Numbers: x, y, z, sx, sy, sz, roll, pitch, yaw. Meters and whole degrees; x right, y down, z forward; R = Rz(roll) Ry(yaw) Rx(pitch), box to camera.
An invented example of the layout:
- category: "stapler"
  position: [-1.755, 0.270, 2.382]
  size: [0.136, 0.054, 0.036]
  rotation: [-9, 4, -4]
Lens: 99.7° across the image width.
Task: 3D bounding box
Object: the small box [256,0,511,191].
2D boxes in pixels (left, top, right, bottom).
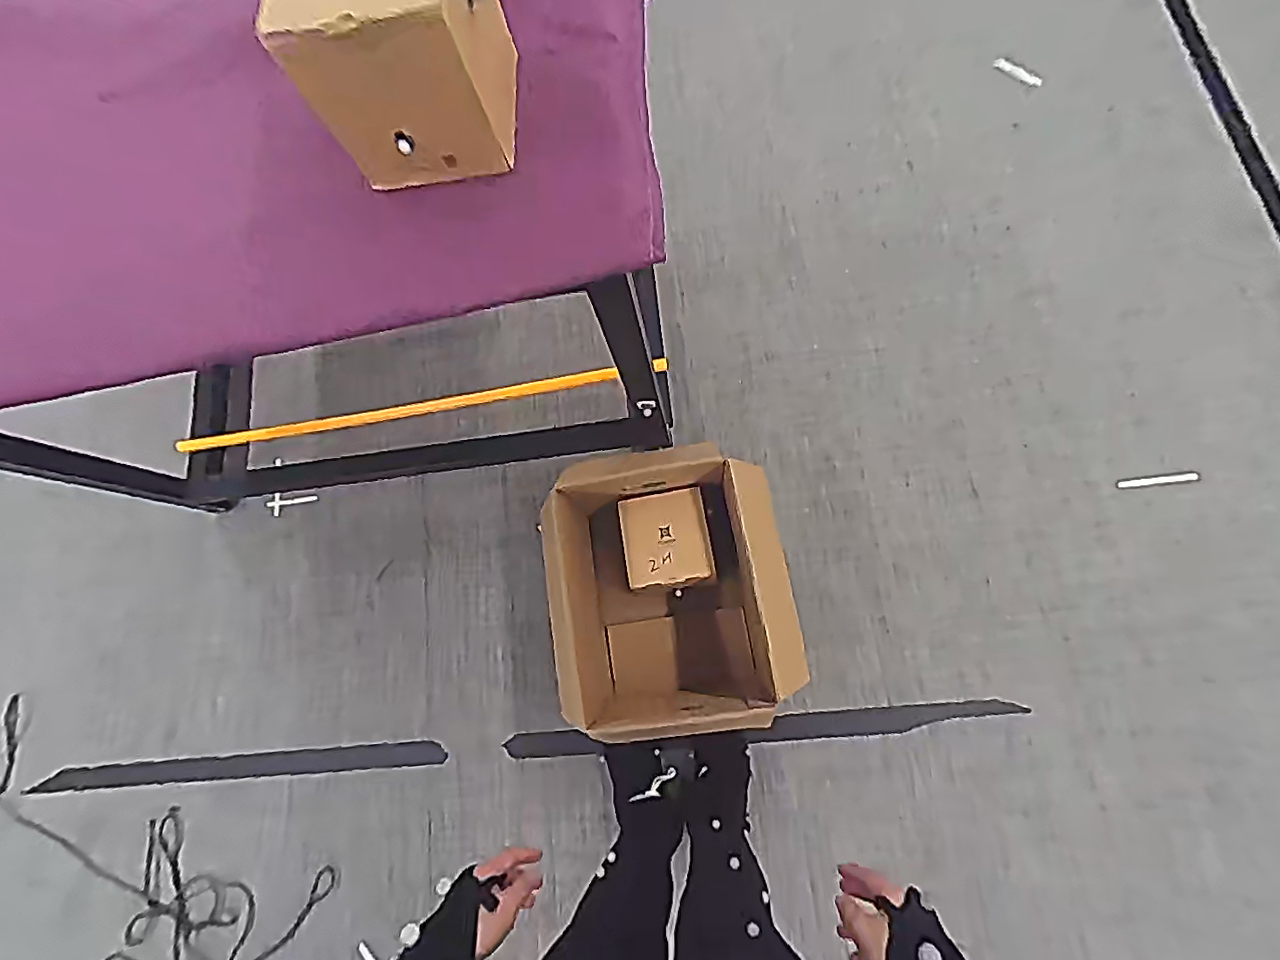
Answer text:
- category: "small box"
  position: [-0.240, -0.435, 0.551]
  size: [0.168, 0.176, 0.179]
  rotation: [-5, 75, 7]
